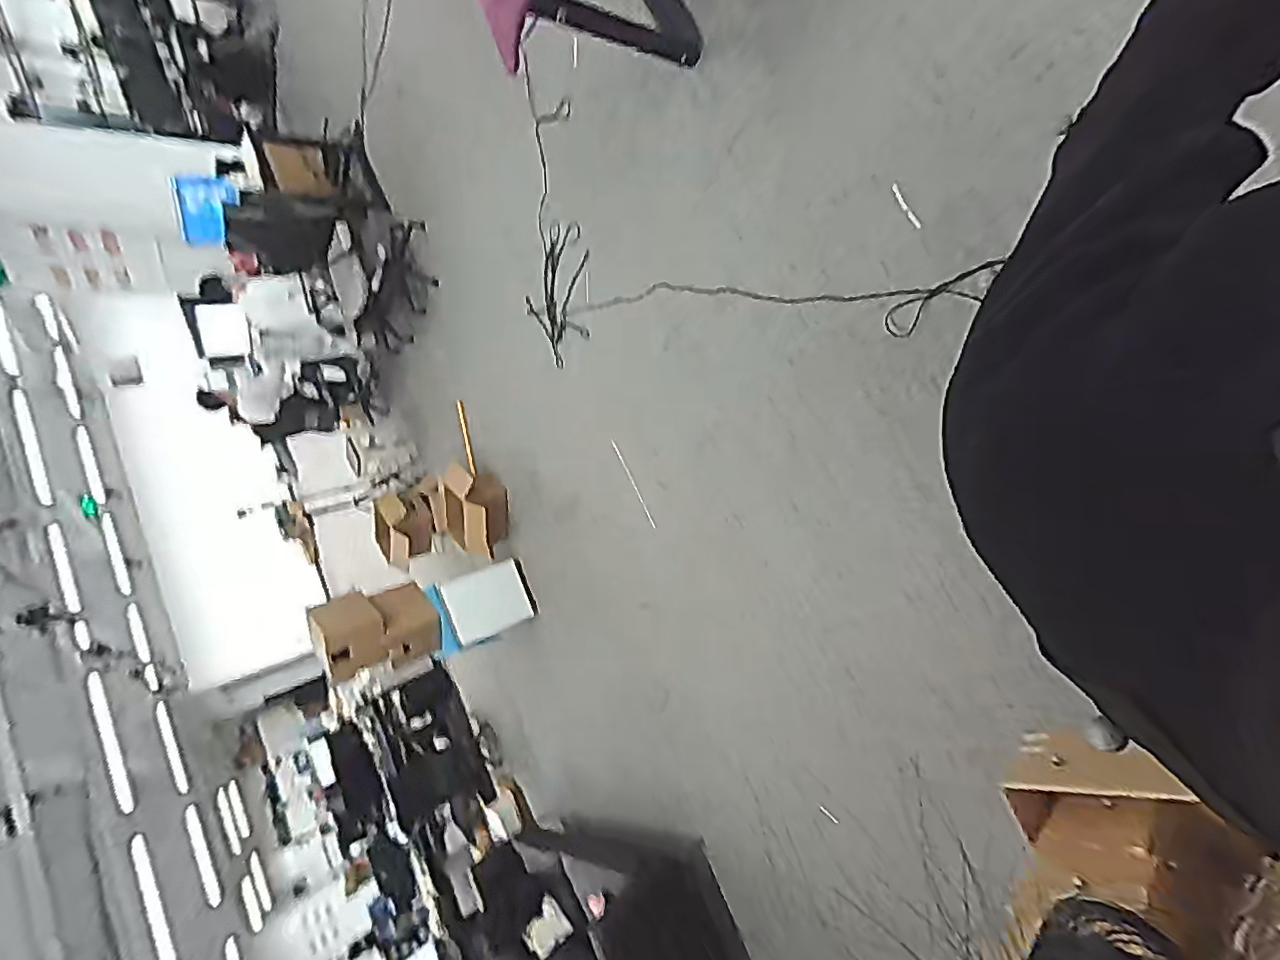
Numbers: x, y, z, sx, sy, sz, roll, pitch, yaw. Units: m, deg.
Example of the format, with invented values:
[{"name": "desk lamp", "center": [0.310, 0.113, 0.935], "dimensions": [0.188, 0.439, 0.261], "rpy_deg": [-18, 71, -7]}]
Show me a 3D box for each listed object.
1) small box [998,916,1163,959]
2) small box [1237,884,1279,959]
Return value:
[{"name": "small box", "center": [0.601, 0.733, 0.716], "dimensions": [0.179, 0.176, 0.168], "rpy_deg": [-30, 80, 51]}, {"name": "small box", "center": [0.856, 0.617, 0.624], "dimensions": [0.179, 0.176, 0.168], "rpy_deg": [-26, 85, 55]}]
